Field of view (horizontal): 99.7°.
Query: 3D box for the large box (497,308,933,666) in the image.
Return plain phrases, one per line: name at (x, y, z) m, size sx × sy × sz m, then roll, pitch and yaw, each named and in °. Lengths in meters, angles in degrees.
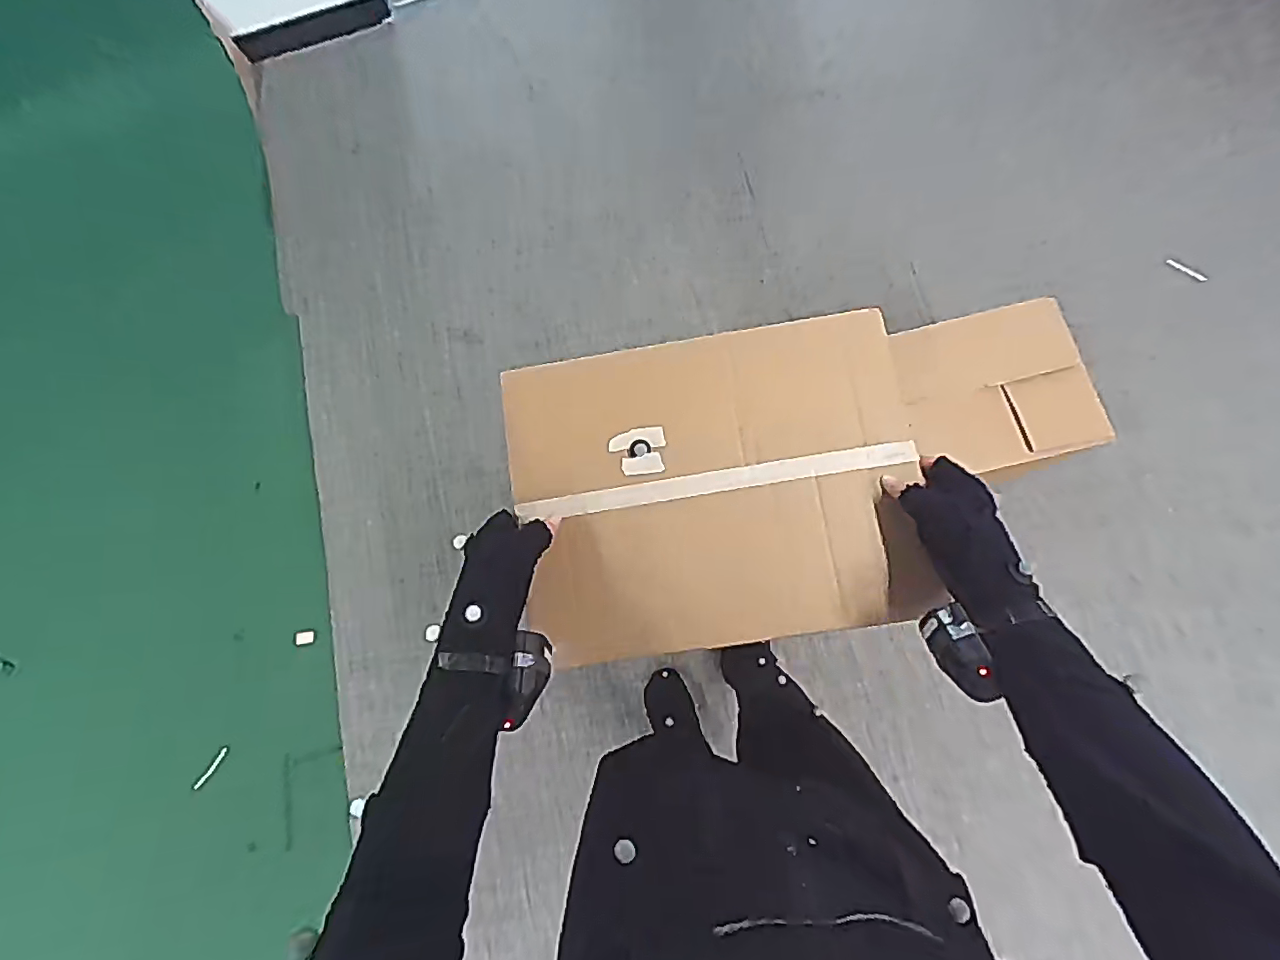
large box at (0.077, 0.025, 0.695) m, size 0.408 × 0.320 × 0.320 m, roll -10°, pitch 80°, yaw 4°
